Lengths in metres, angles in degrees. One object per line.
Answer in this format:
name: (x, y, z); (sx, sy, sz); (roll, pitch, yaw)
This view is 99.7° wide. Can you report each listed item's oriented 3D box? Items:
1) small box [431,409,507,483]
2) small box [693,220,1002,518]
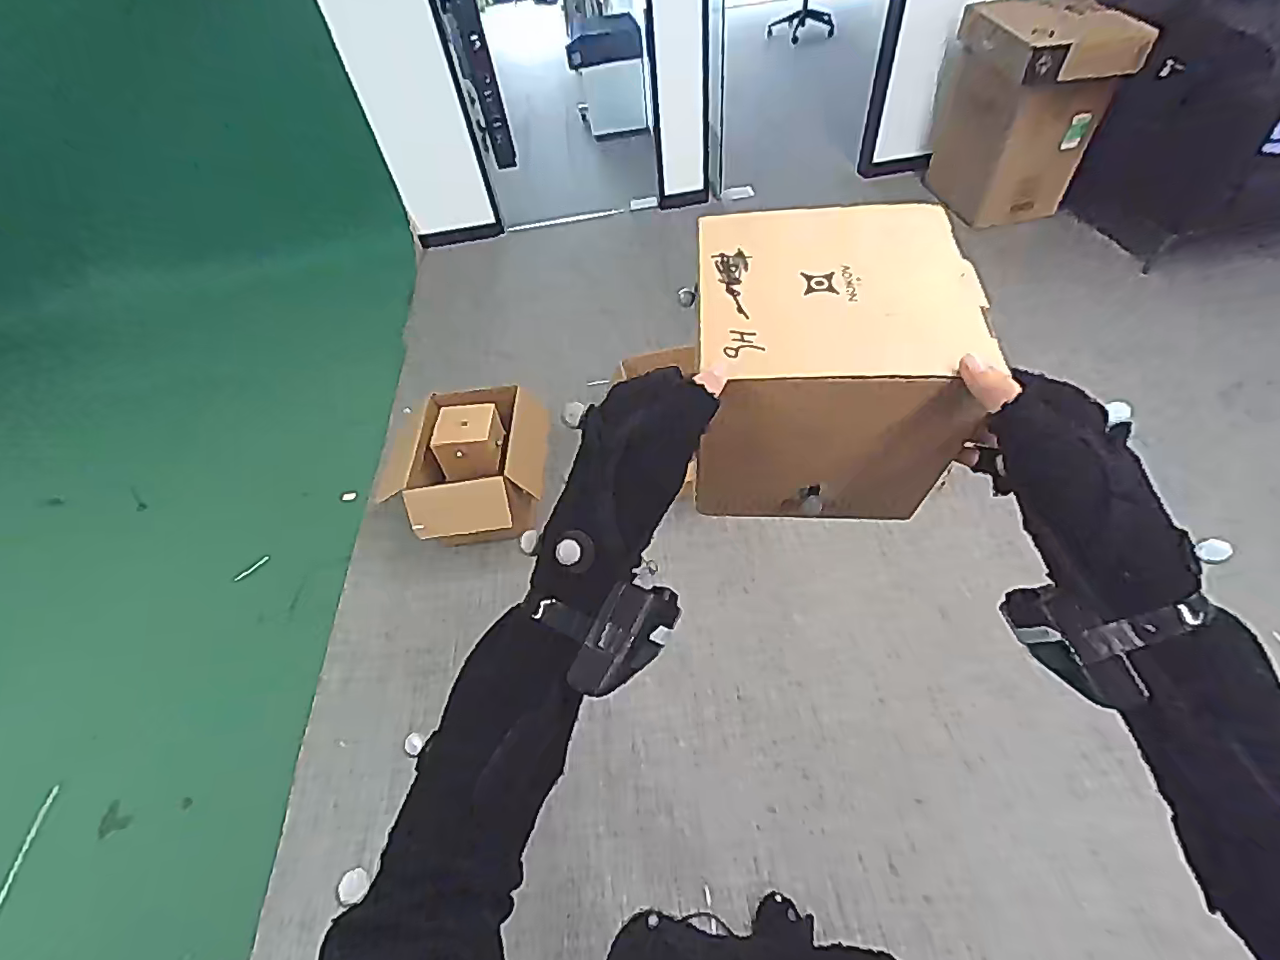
small box: (-0.534, -0.106, 1.718); (0.179, 0.176, 0.168); (-4, 49, 2)
small box: (0.136, -0.080, 0.431); (0.179, 0.176, 0.168); (2, 56, 4)
